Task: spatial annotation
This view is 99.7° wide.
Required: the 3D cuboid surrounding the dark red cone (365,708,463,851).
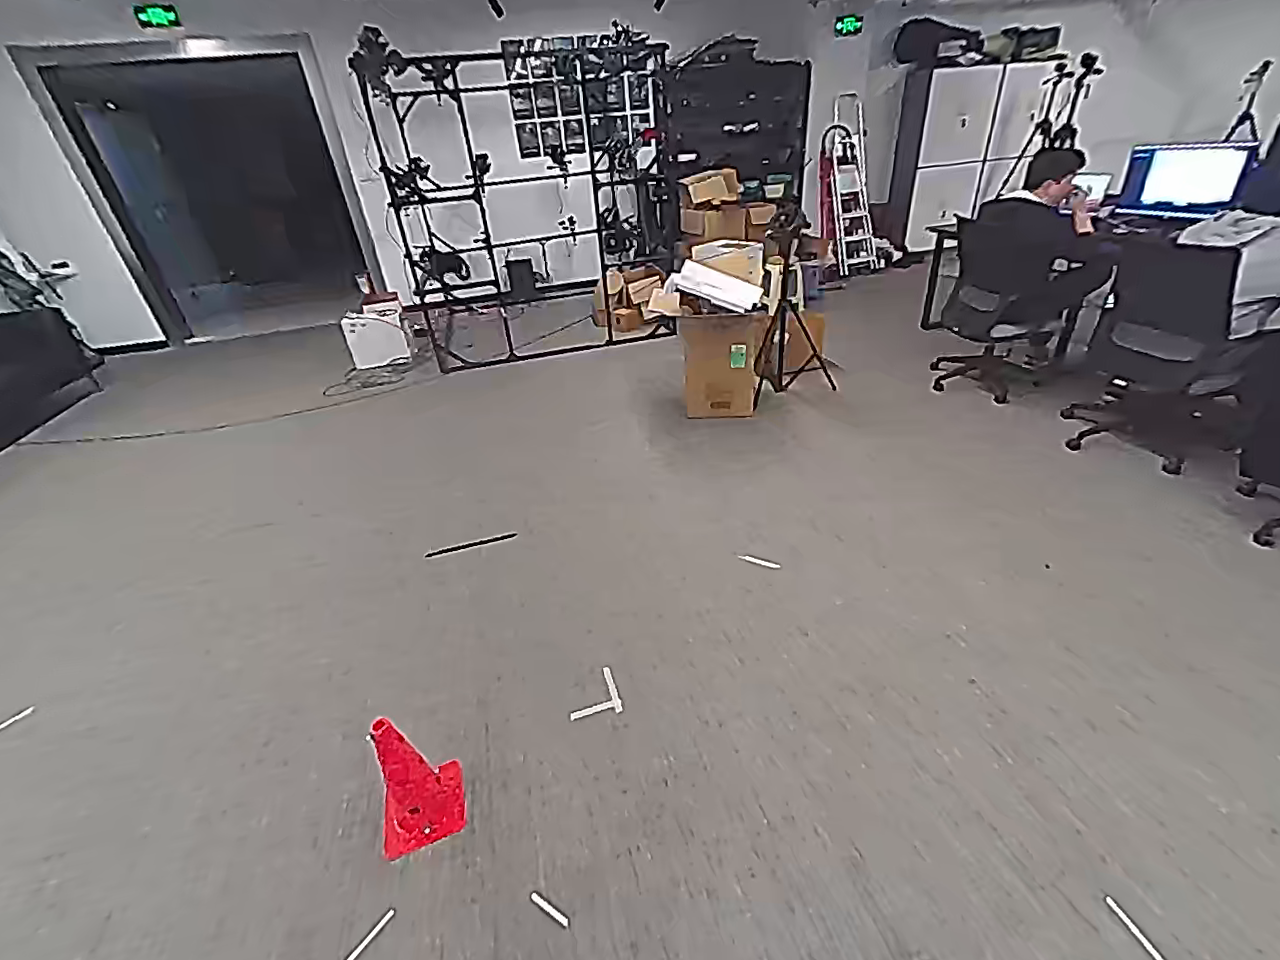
[{"bbox_3d":[-0.577,0.686,1.301,0.202,0.394,0.201,-16,34,-16],"label":"dark red cone"}]
